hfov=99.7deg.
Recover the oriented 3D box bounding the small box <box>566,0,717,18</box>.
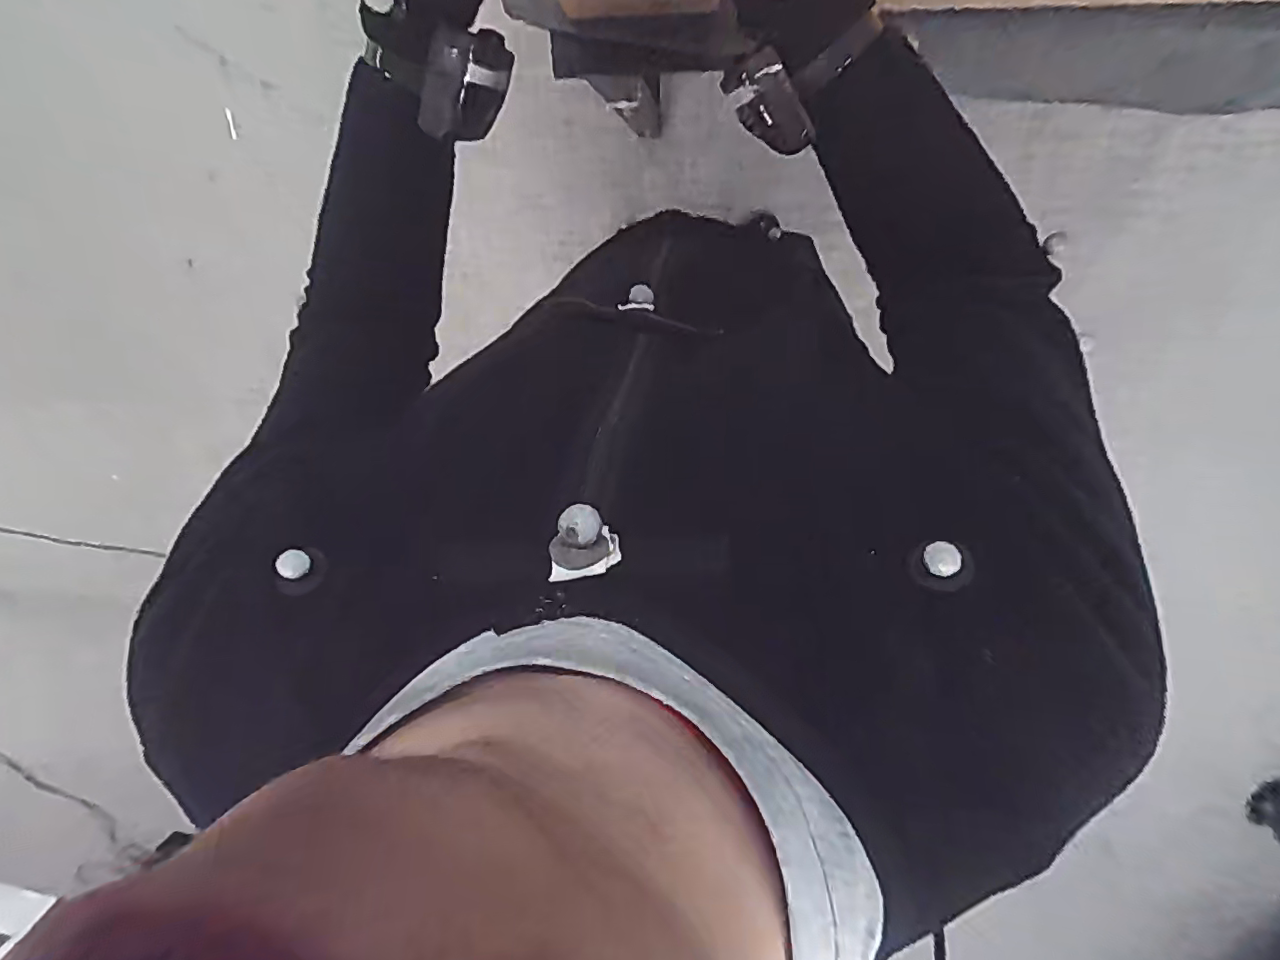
[{"bbox_3d":[-0.003,-0.557,0.494,0.168,0.176,0.179,0,113,5],"label":"small box"}]
